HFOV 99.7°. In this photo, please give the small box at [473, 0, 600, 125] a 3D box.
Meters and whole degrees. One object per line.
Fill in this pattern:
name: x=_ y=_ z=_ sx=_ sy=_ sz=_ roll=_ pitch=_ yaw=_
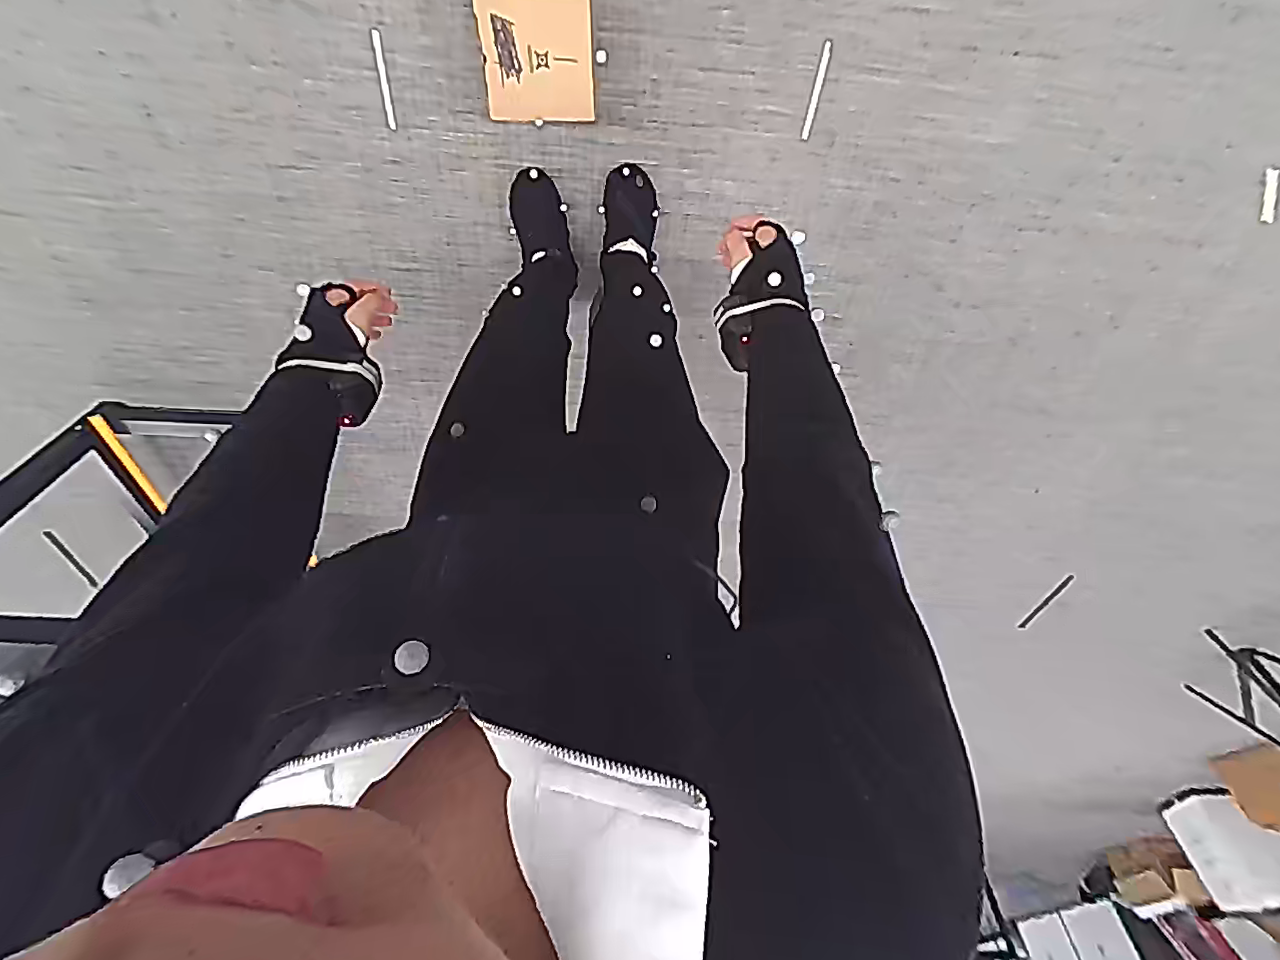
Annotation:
small box: x=-0.160 y=-0.705 z=0.899 sx=0.179 sy=0.176 sz=0.168 roll=0 pitch=134 yaw=-1
